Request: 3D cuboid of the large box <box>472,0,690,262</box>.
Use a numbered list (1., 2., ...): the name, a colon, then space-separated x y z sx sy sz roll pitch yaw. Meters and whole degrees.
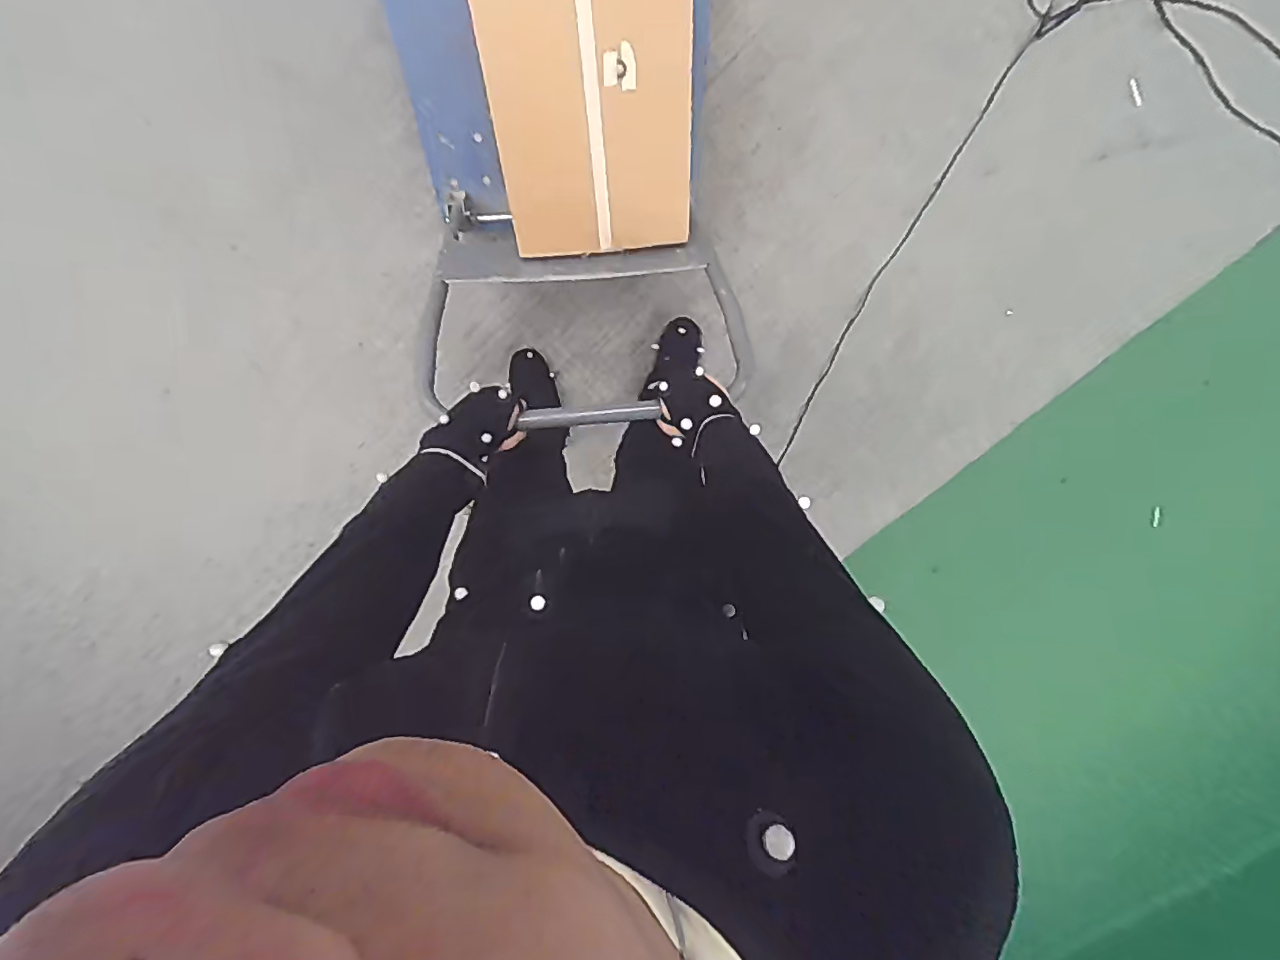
1. large box: -0.088 -0.665 0.984 0.320 0.320 0.408 -7 134 -3
